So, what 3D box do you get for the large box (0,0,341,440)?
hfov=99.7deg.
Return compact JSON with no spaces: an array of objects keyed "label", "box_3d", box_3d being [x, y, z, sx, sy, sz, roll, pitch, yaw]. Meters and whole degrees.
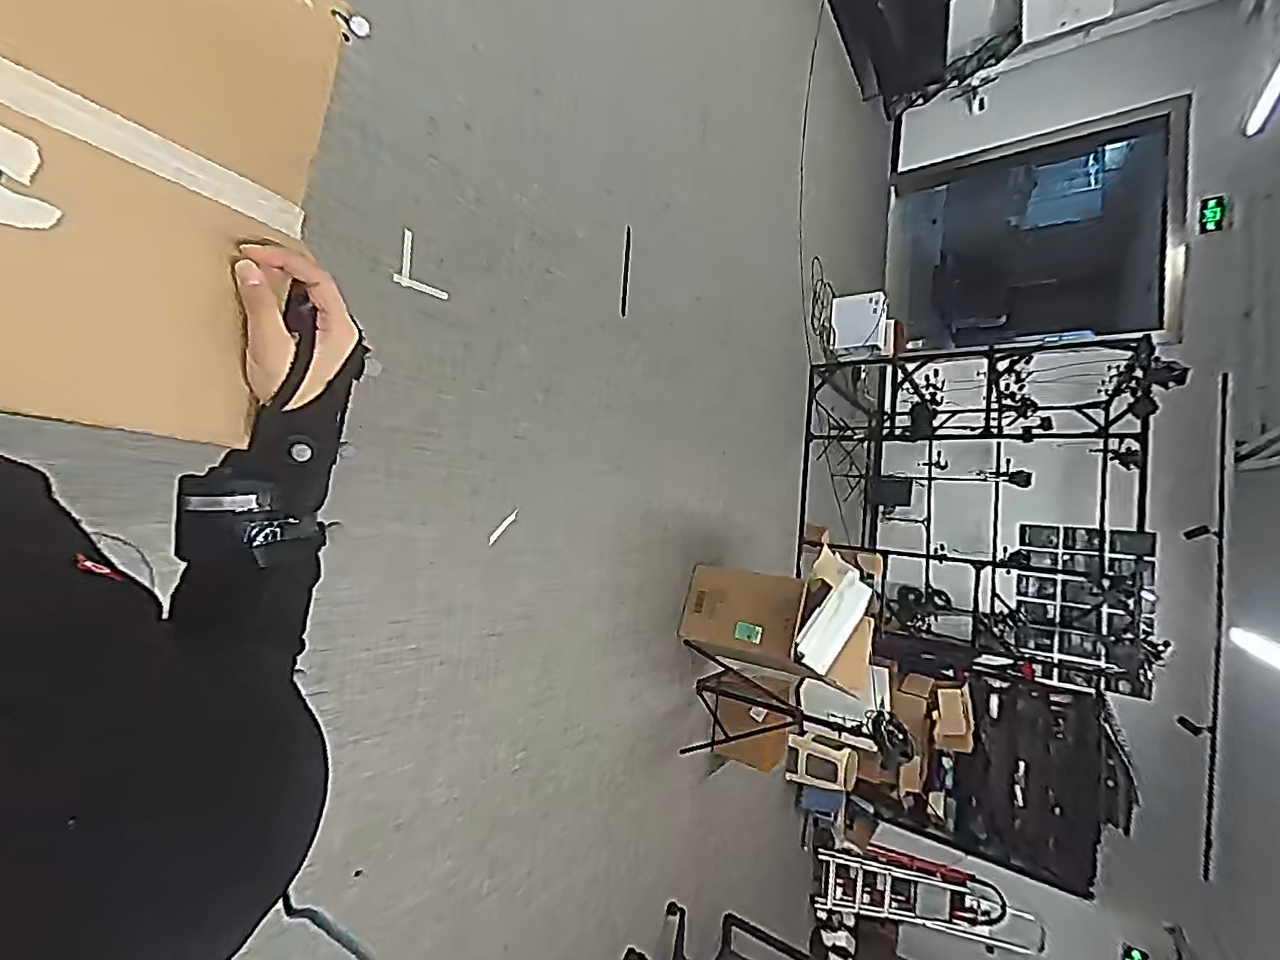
[{"label":"large box","box_3d":[-0.471,-0.221,0.306,0.408,0.320,0.320,13,89,-55]}]
